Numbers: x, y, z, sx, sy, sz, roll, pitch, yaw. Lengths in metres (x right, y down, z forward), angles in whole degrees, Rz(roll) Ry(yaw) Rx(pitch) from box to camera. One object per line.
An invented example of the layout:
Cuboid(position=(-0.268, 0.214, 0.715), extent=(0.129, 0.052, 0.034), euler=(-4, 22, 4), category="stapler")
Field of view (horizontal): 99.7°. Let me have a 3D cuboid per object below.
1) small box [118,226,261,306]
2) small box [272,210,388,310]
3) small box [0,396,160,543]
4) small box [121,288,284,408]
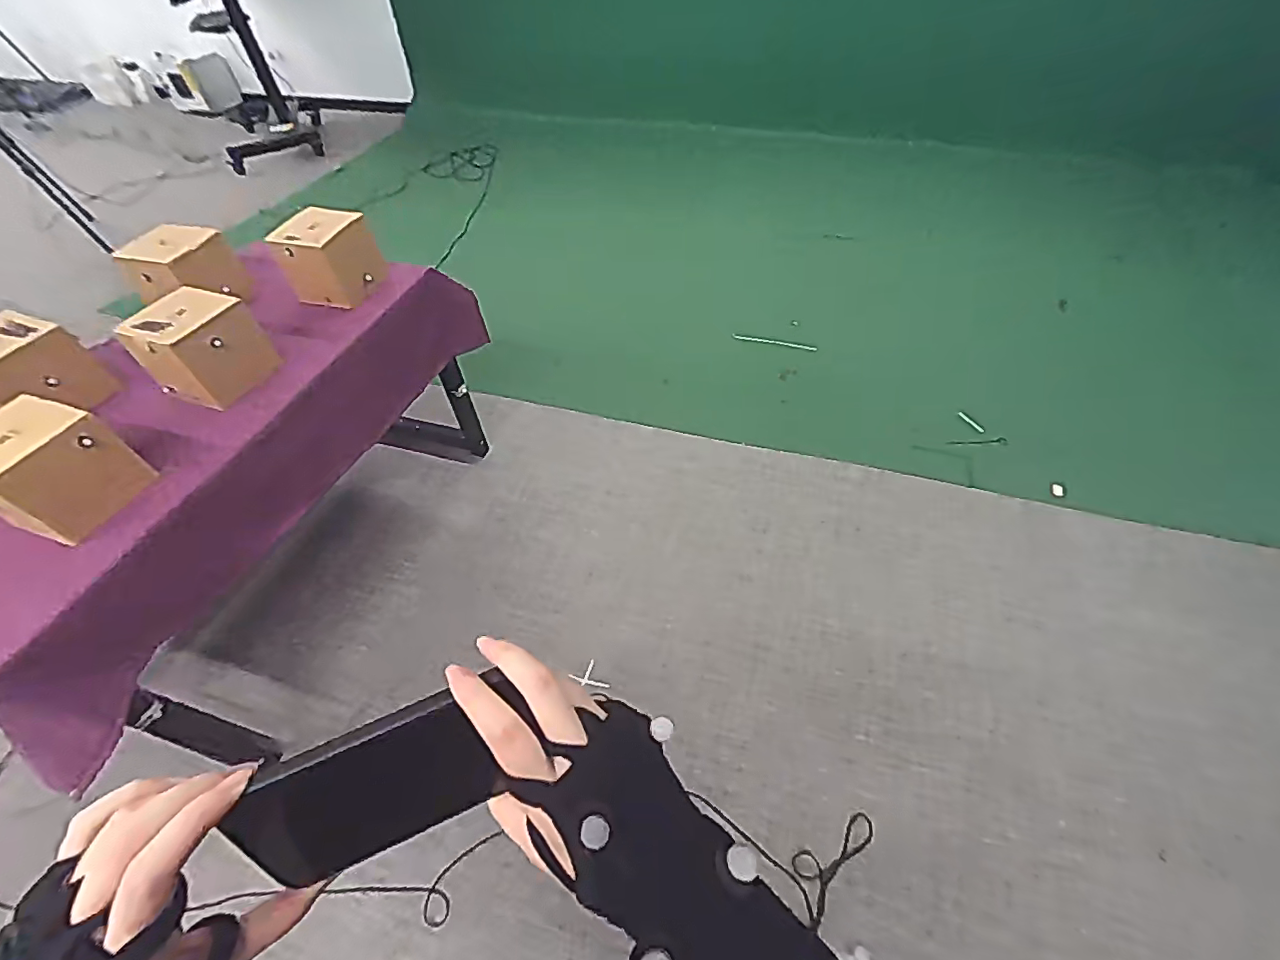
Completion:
Cuboid(position=(-1.118, -0.512, 1.358), extent=(0.179, 0.176, 0.168), euler=(11, 52, 11), category="small box")
Cuboid(position=(-0.777, -0.564, 1.385), extent=(0.168, 0.176, 0.179), euler=(12, 52, 13), category="small box")
Cuboid(position=(-1.015, -0.016, 0.944), extent=(0.168, 0.176, 0.179), euler=(14, 51, 14), category="small box")
Cuboid(position=(-0.919, -0.280, 1.157), extent=(0.168, 0.176, 0.179), euler=(16, 52, 15), category="small box")
